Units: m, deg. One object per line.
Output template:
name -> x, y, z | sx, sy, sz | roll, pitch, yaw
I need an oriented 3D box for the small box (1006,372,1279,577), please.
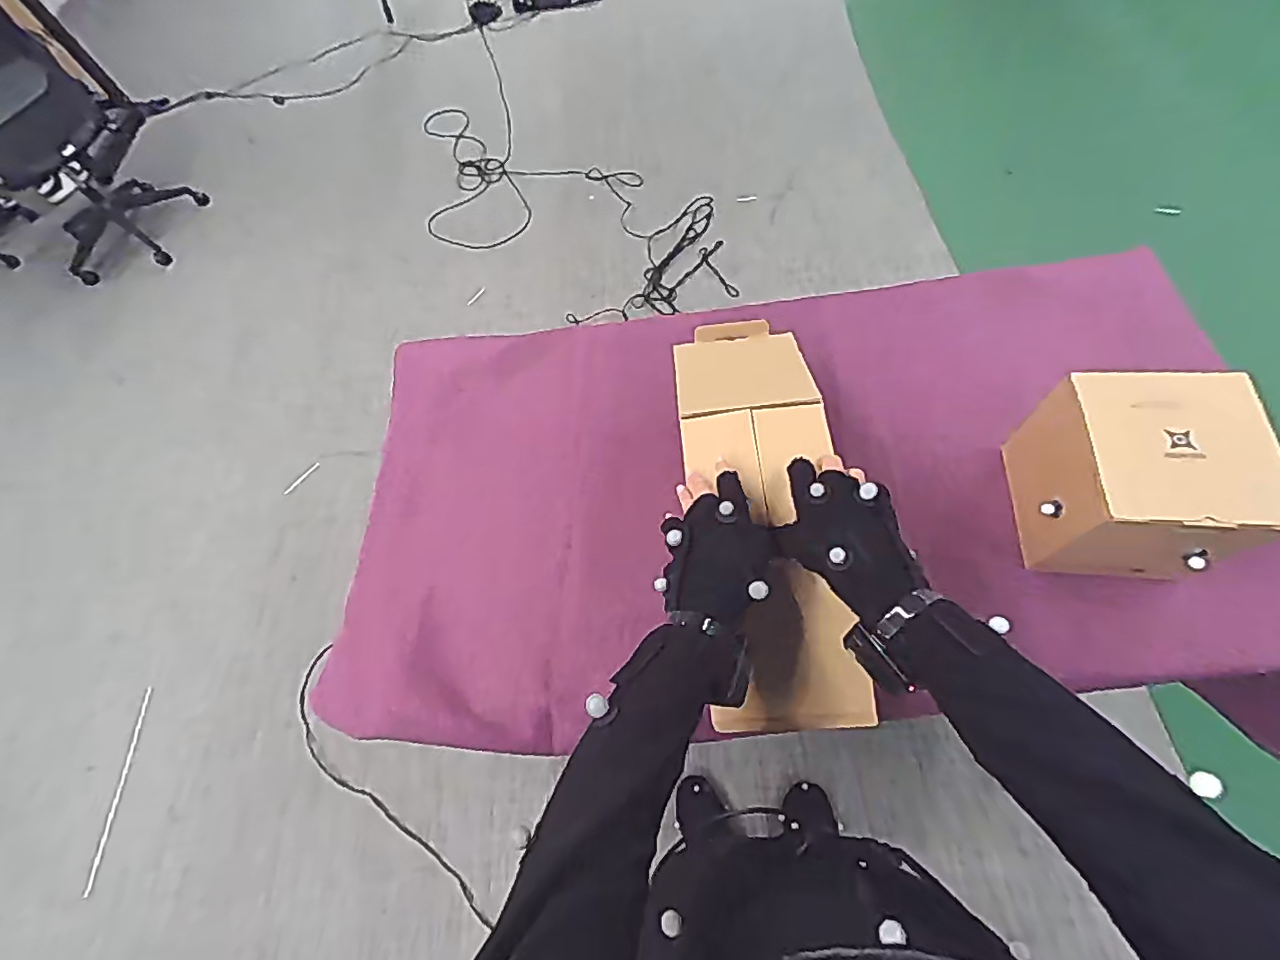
small box -> 0.545, 0.000, 0.603 | 0.168, 0.176, 0.179 | 3, 64, 10
